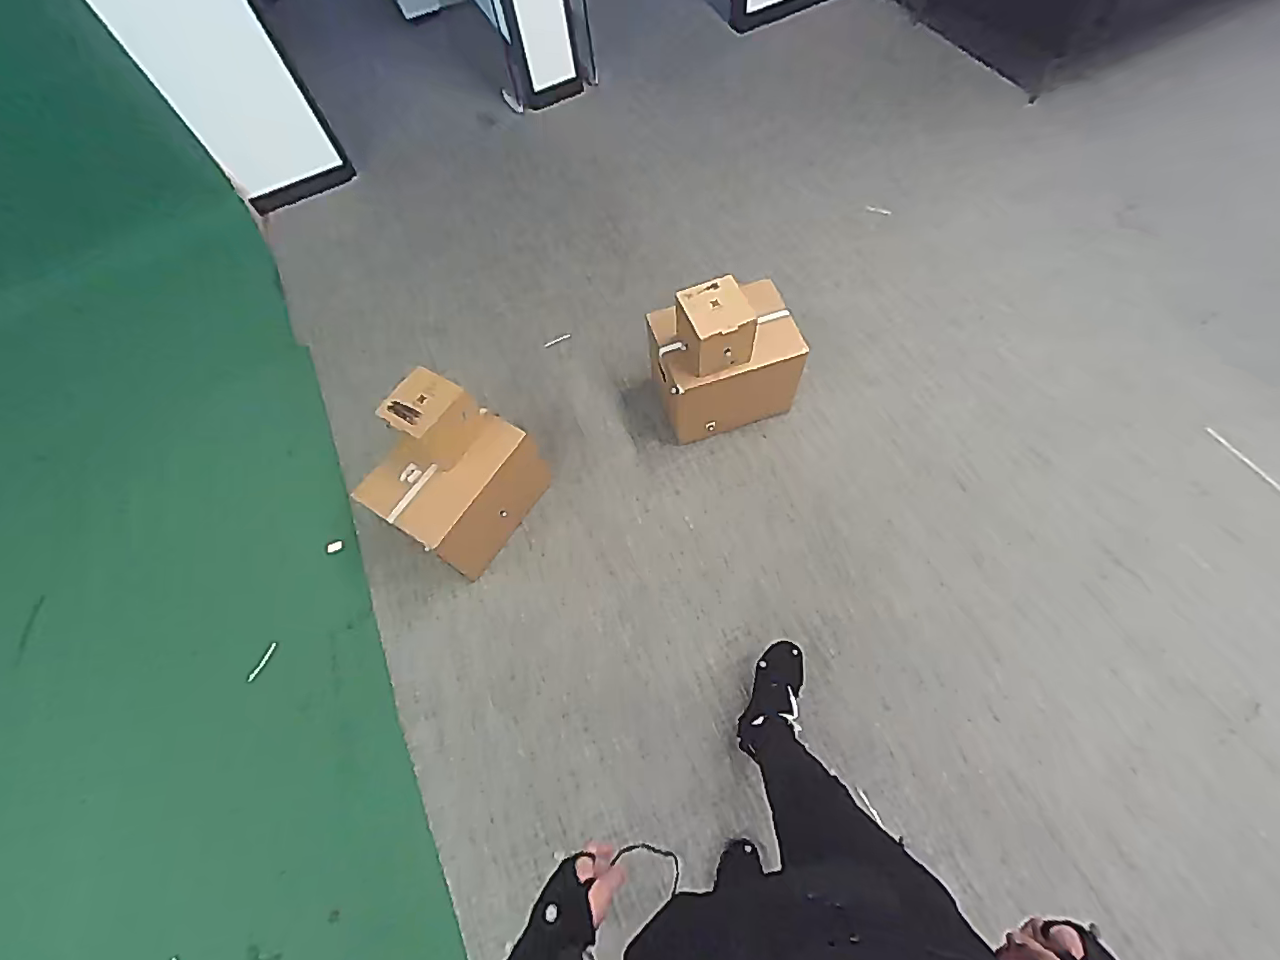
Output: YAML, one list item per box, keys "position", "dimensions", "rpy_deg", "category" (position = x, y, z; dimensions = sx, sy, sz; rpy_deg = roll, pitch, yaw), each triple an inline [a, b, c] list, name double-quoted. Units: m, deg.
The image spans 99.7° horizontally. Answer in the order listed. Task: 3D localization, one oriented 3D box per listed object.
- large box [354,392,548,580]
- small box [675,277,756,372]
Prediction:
- position: [-0.536, 0.024, 1.616]
  dimensions: [0.320, 0.320, 0.408]
  rpy_deg: [27, 70, 18]
  category: "large box"
- position: [0.203, -0.420, 1.497]
  dimensions: [0.168, 0.176, 0.179]
  rpy_deg: [-20, 65, -5]
  category: "small box"
